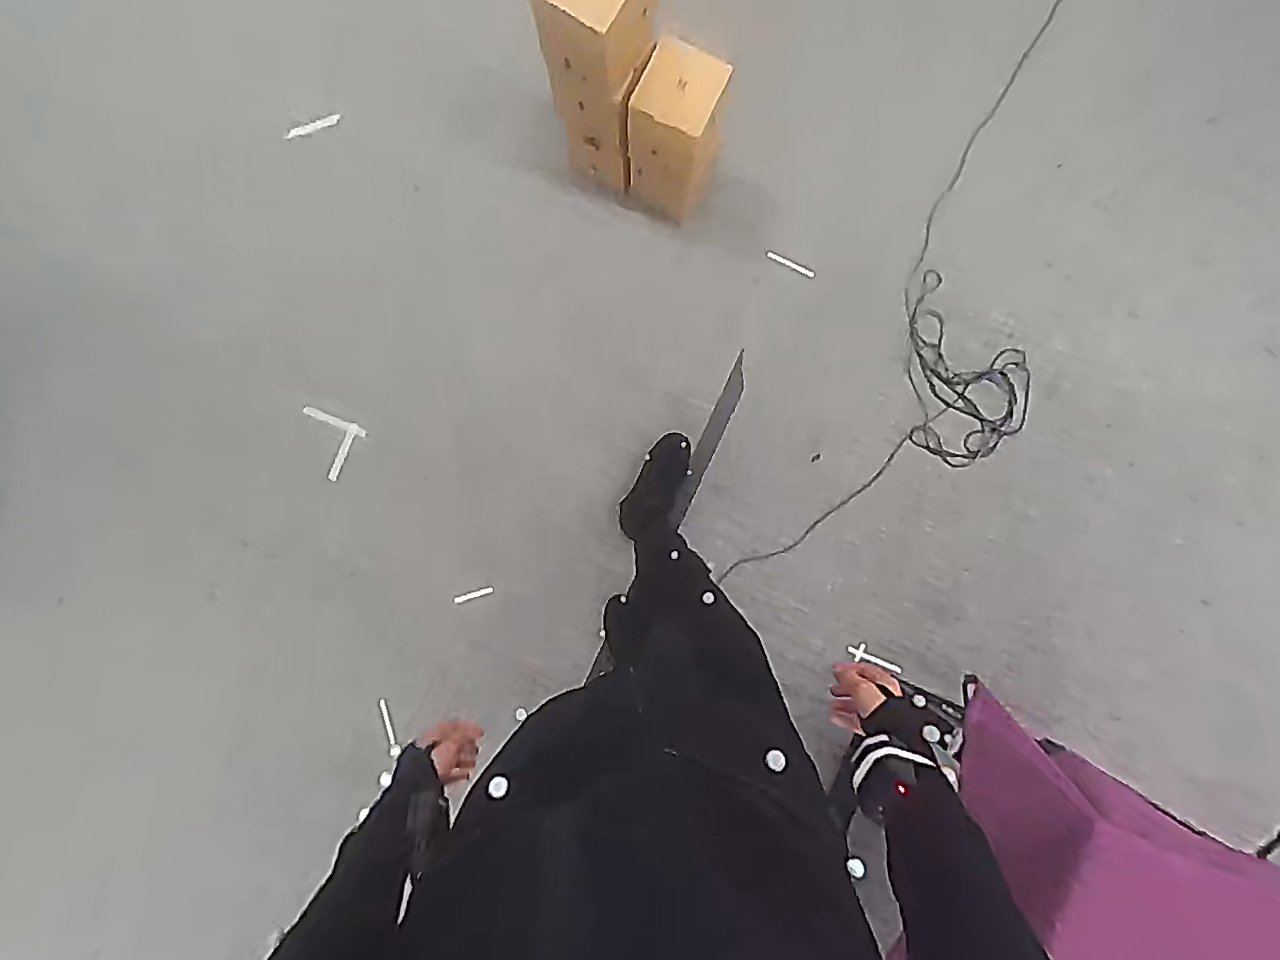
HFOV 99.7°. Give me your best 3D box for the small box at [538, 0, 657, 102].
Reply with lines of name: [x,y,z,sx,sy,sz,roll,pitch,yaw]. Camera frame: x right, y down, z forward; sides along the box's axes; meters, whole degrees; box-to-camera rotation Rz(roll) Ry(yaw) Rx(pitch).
small box: [-0.079,-0.891,1.038,0.168,0.176,0.179,33,88,2]
